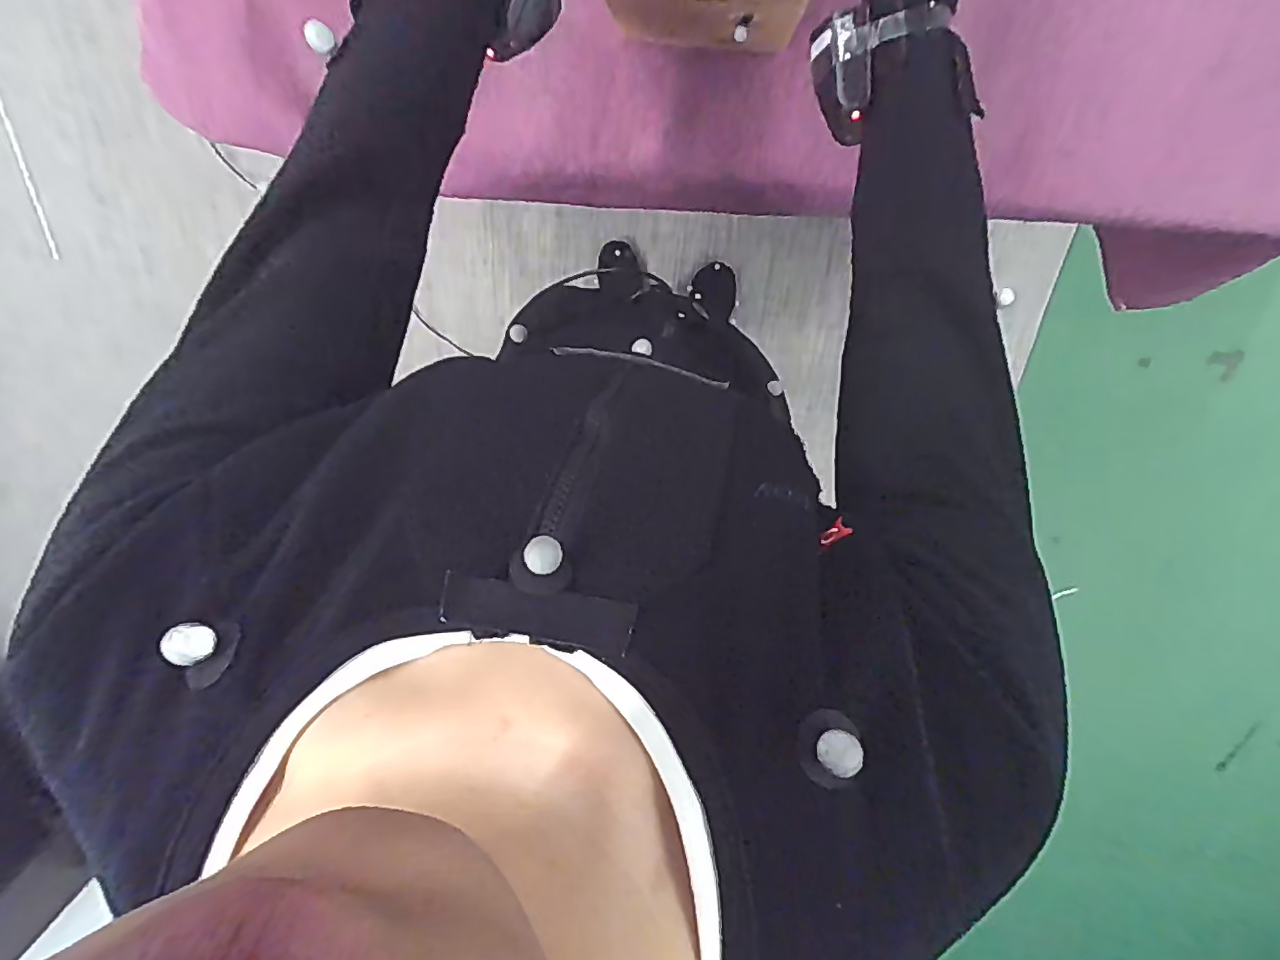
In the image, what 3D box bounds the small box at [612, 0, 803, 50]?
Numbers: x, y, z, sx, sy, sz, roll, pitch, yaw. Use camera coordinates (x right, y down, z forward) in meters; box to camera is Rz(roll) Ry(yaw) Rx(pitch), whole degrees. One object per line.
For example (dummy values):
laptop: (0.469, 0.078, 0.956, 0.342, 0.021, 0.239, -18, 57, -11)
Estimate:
small box: (0.063, -0.475, 0.430, 0.168, 0.176, 0.179, 7, 115, 2)
